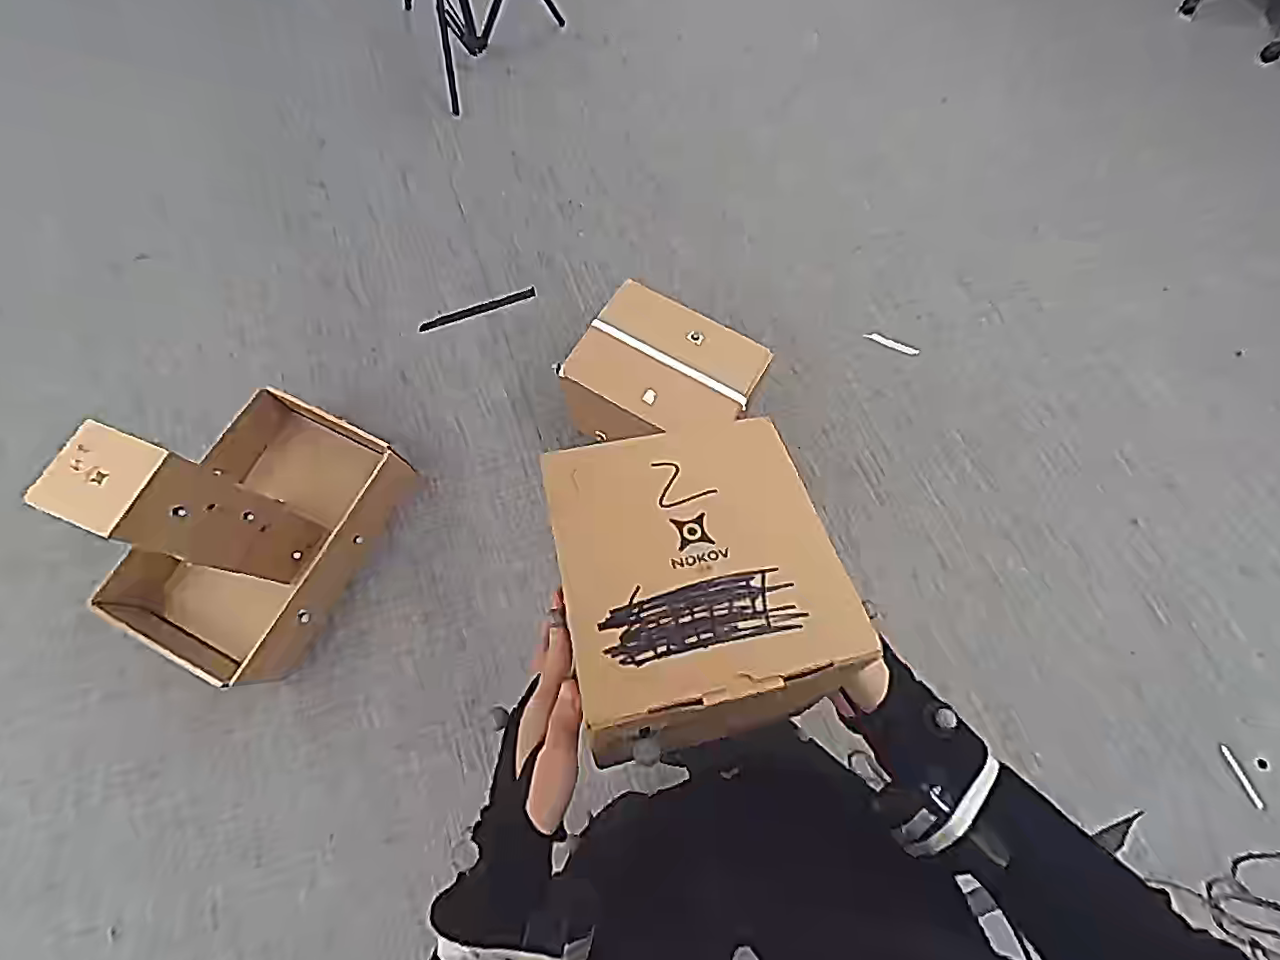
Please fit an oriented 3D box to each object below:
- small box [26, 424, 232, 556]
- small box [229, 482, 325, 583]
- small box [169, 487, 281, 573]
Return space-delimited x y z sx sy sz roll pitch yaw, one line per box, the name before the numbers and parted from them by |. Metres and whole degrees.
small box | -0.911 0.028 0.988 0.179 0.176 0.168 20 71 6
small box | -0.913 0.134 1.298 0.179 0.176 0.168 25 73 7
small box | -0.916 0.086 1.143 0.179 0.176 0.168 20 71 7
